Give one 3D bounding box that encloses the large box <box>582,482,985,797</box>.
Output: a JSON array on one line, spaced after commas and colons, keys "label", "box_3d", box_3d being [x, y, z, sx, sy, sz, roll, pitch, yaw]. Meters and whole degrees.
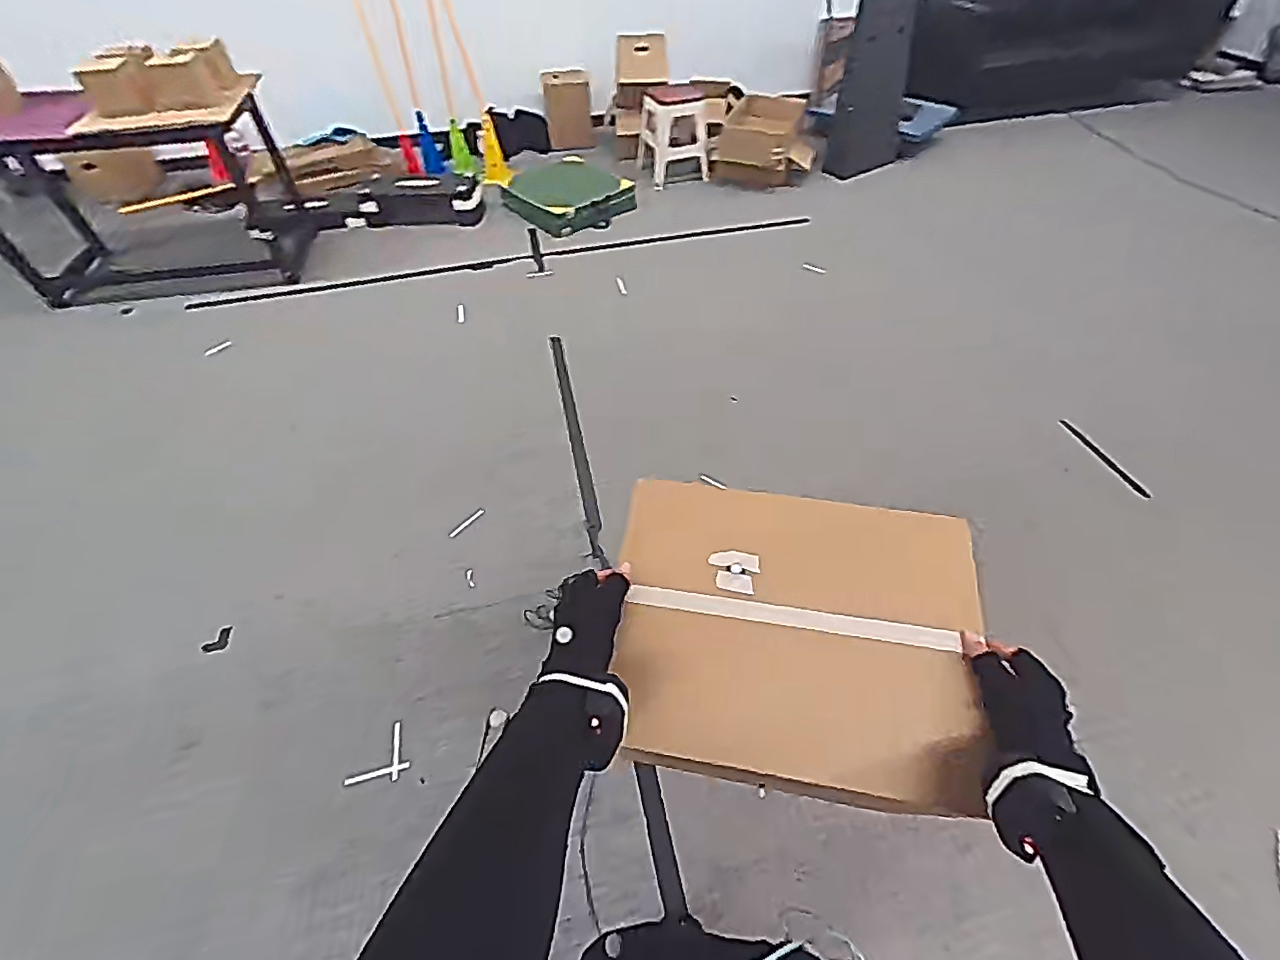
[{"label": "large box", "box_3d": [0.170, 0.225, 0.740, 0.408, 0.320, 0.320, 6, 60, 9]}]
